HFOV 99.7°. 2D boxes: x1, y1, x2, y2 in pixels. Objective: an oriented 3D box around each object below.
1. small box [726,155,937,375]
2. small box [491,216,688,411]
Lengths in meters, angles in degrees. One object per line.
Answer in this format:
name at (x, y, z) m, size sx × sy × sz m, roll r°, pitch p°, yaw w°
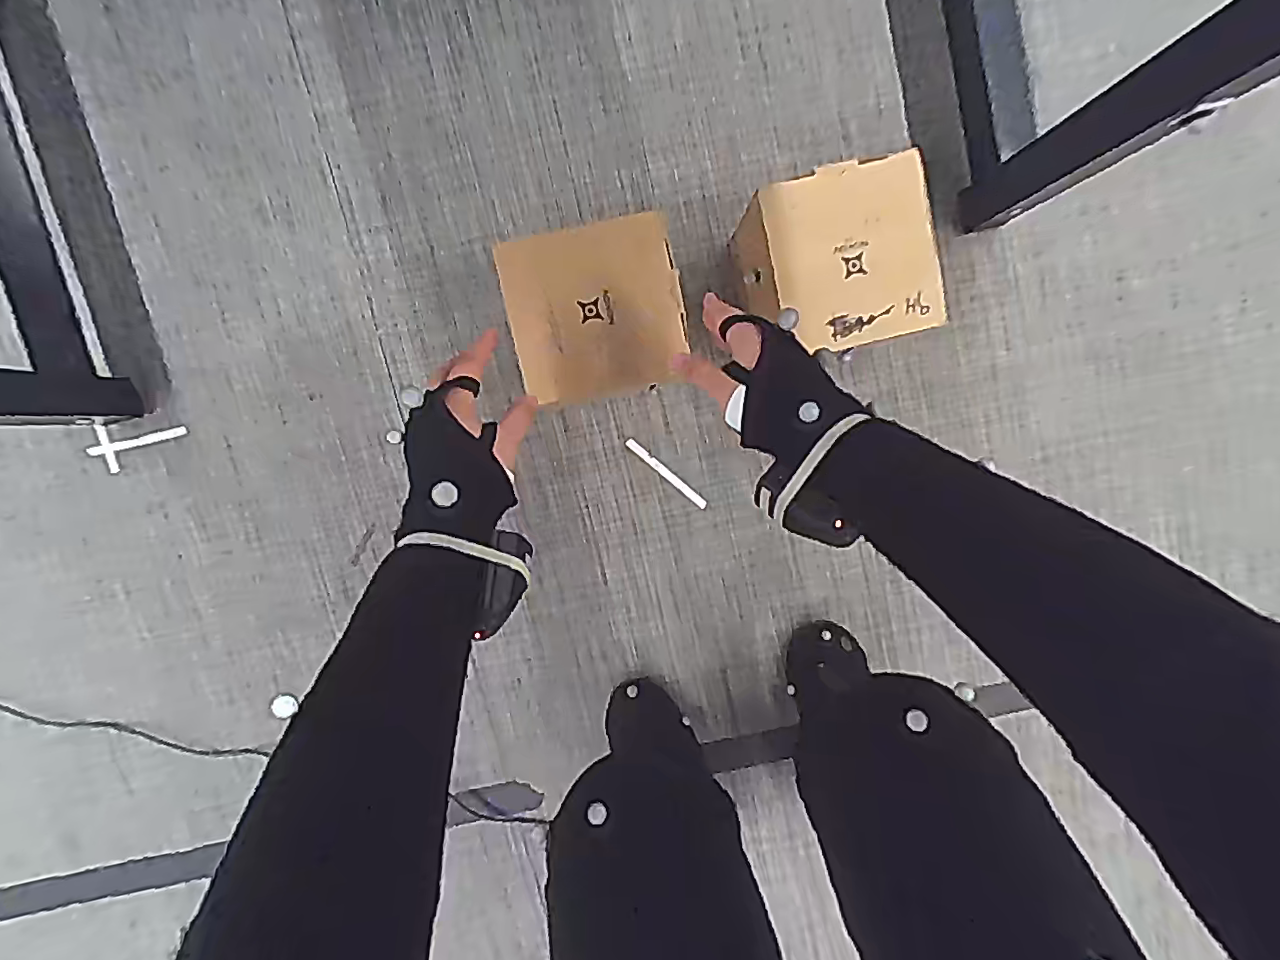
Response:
small box at (0.206, -0.232, 0.627) m, size 0.168 × 0.176 × 0.179 m, roll -13°, pitch 95°, yaw 1°
small box at (-0.052, -0.179, 0.633) m, size 0.179 × 0.176 × 0.168 m, roll -13°, pitch 95°, yaw 2°
